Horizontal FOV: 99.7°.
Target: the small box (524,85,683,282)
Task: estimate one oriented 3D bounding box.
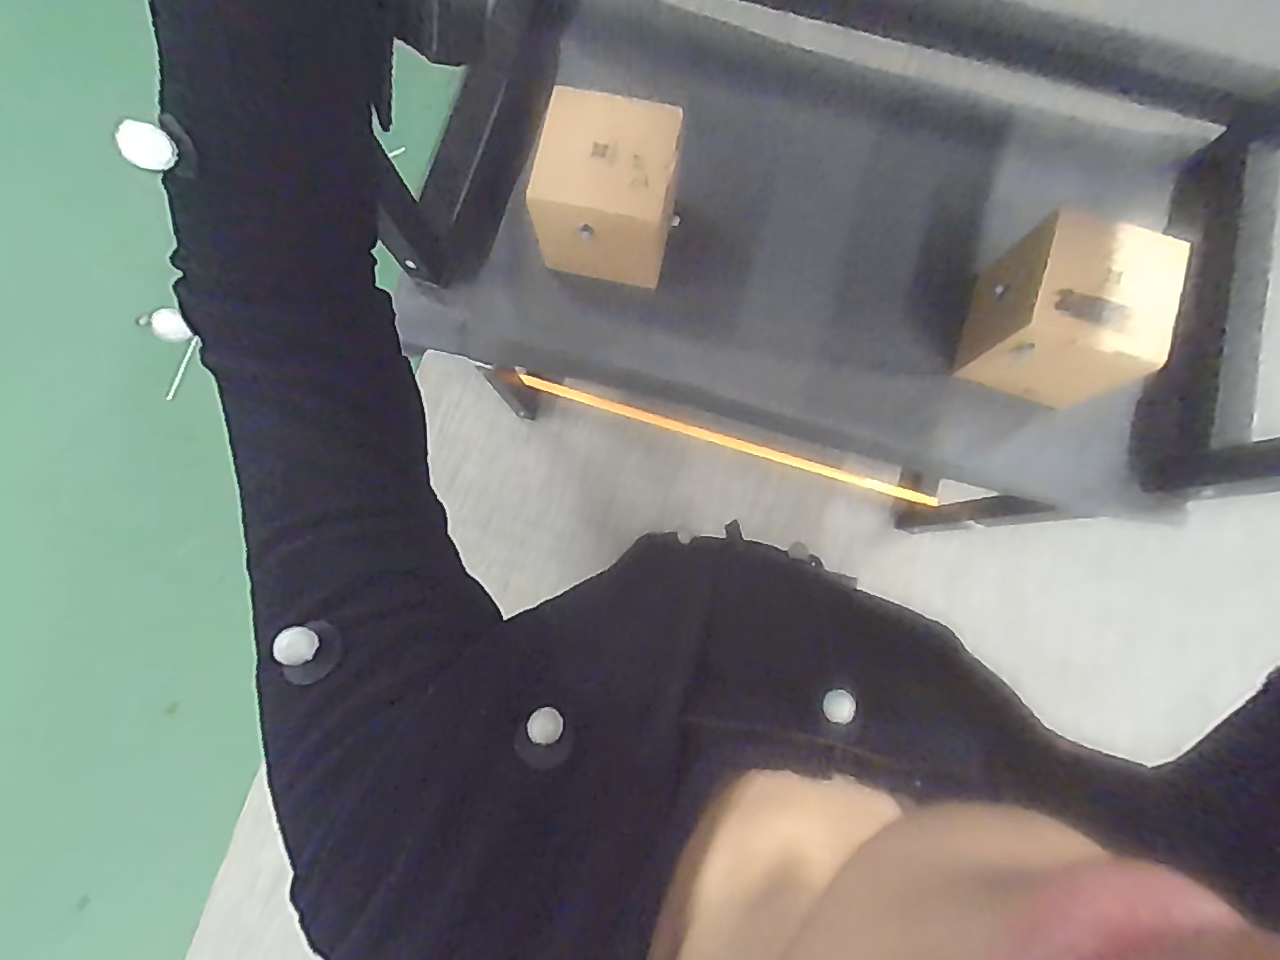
[{"bbox_3d":[-0.046,-0.406,0.767,0.179,0.176,0.168,12,82,1],"label":"small box"}]
